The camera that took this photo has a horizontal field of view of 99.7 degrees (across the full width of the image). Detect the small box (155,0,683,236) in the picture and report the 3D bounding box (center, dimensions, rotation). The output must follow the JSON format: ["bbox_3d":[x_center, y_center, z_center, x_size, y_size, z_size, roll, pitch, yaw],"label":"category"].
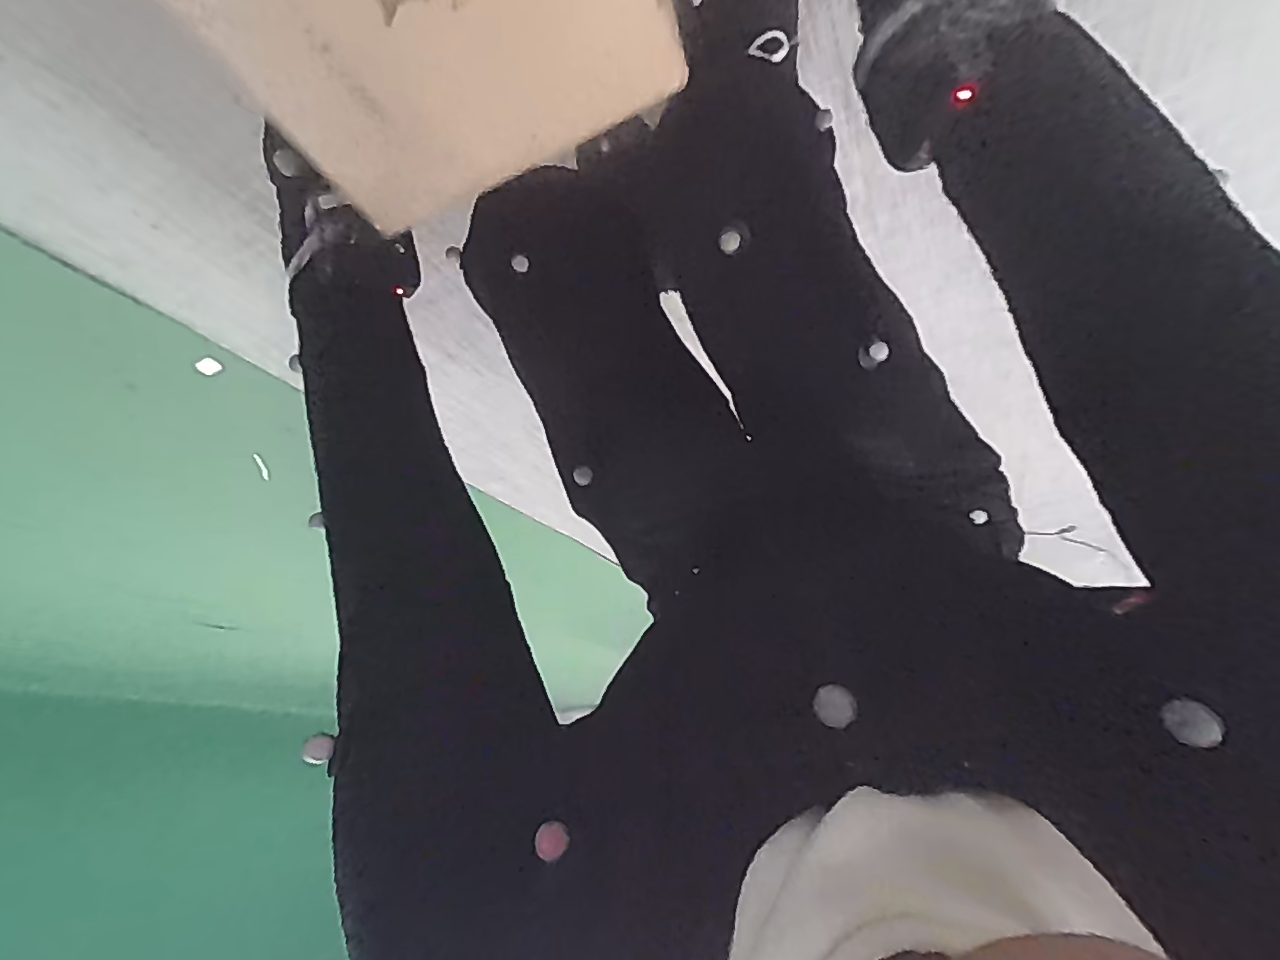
[{"bbox_3d":[-0.095,-0.257,0.242,0.179,0.176,0.168,-14,148,19],"label":"small box"}]
